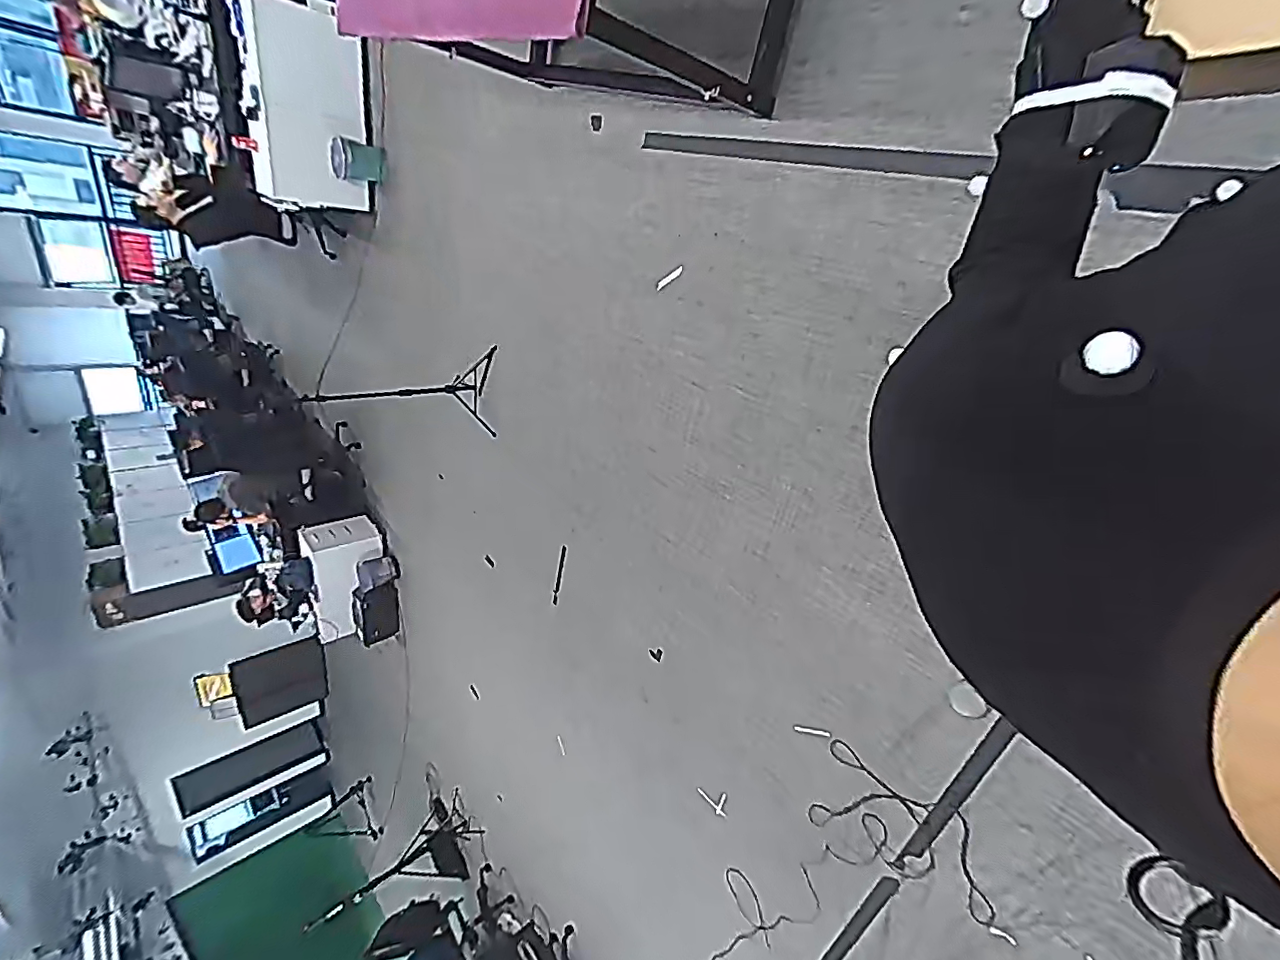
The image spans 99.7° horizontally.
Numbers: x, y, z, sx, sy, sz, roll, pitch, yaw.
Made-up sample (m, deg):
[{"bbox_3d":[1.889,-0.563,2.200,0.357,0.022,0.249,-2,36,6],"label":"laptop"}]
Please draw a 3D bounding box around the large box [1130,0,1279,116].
[{"bbox_3d":[0.587,-0.421,0.297,0.408,0.320,0.320,21,126,38],"label":"large box"}]
